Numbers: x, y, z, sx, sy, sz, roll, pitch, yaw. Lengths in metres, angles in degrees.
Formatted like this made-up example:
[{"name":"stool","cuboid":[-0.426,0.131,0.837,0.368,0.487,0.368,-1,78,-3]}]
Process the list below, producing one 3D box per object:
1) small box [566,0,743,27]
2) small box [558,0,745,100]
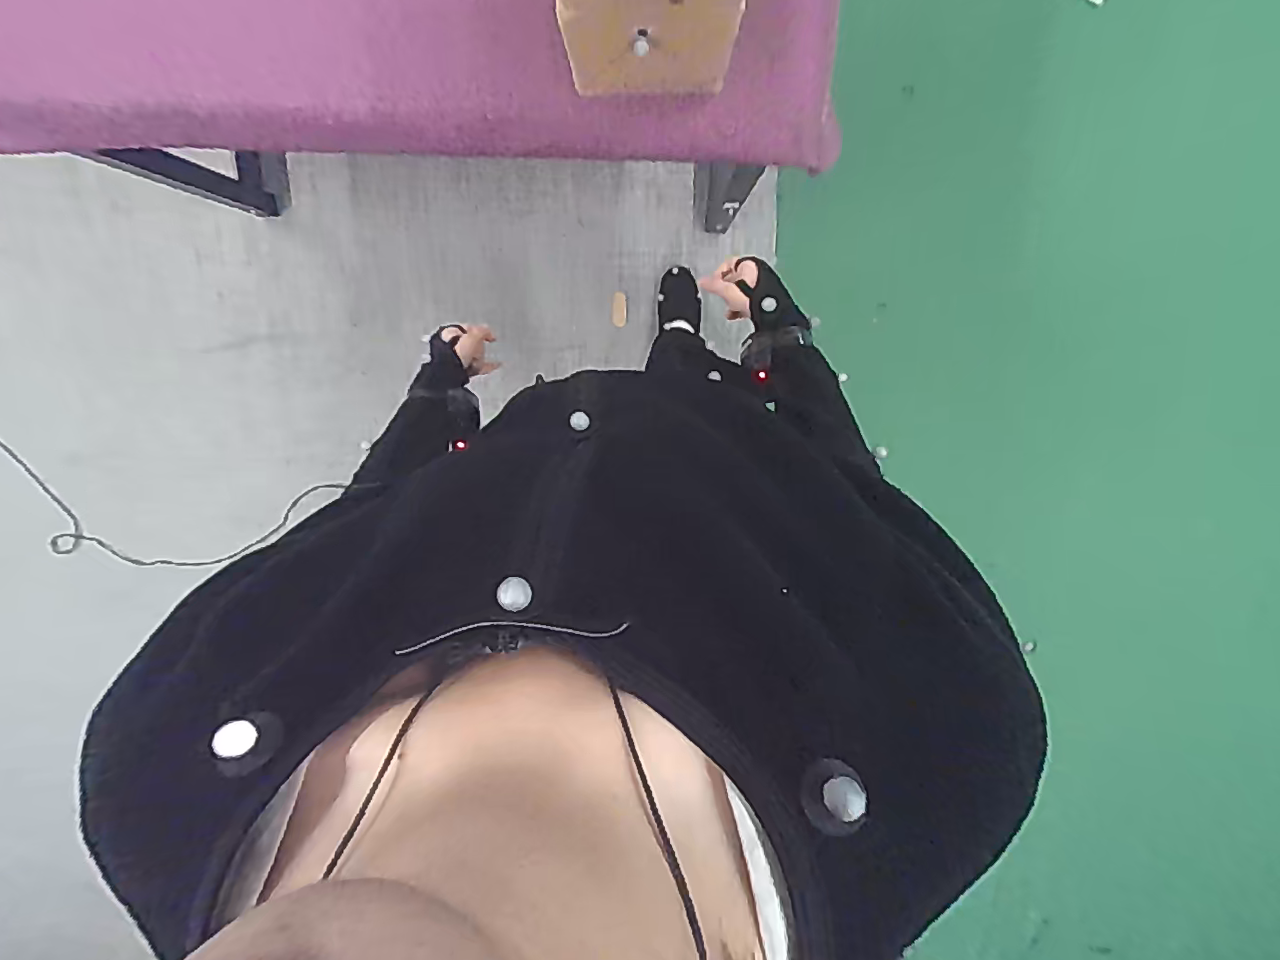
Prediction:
[{"name":"small box","cuboid":[0.008,-0.488,0.404,0.168,0.176,0.179,1,103,4]},{"name":"small box","cuboid":[0.012,-0.525,0.564,0.179,0.176,0.168,0,104,3]}]
